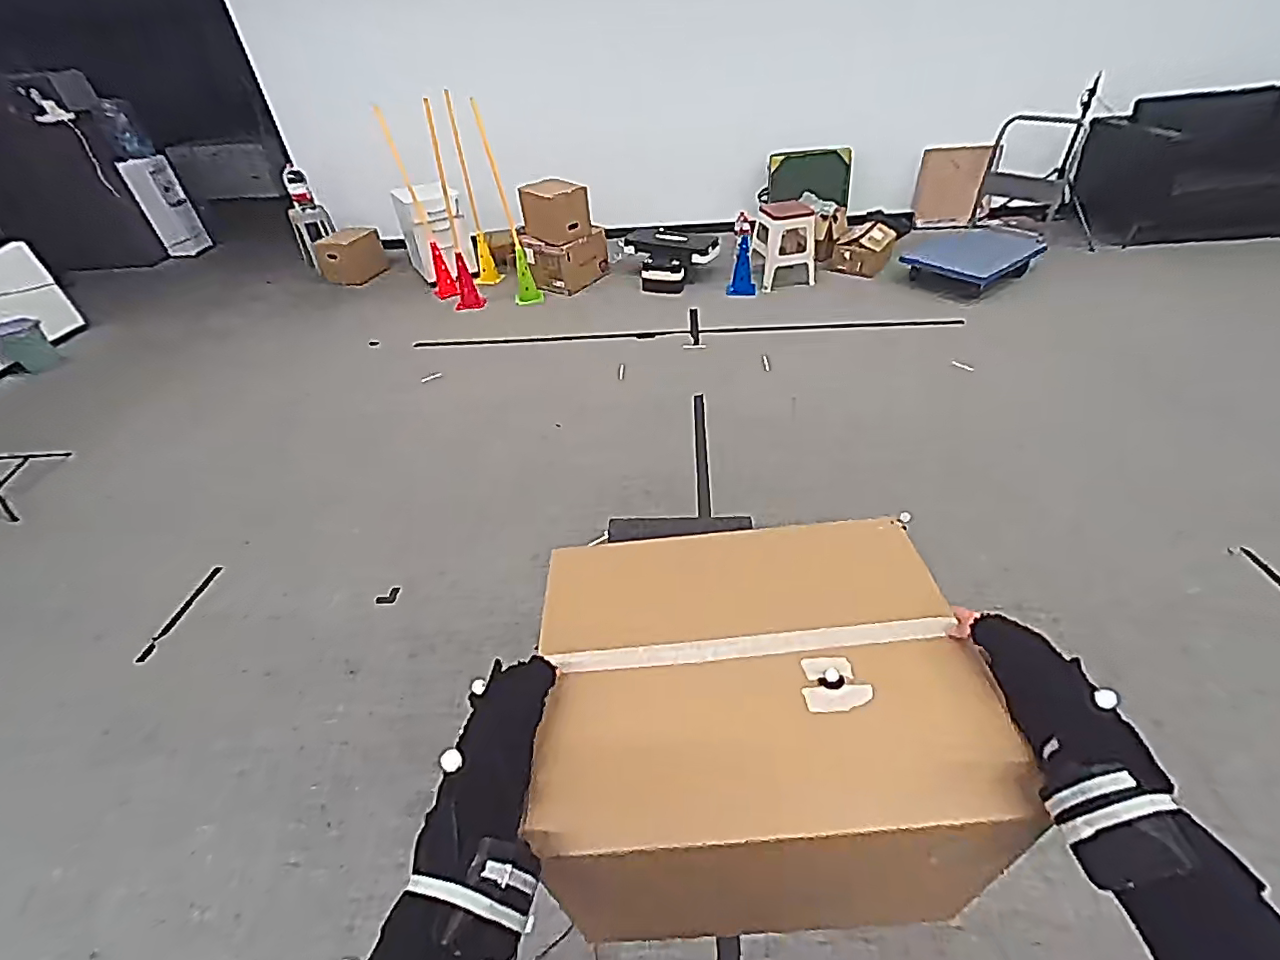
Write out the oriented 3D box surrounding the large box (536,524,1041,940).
[{"bbox_3d":[0.120,0.285,0.625,0.408,0.320,0.320,-6,40,2],"label":"large box"}]
